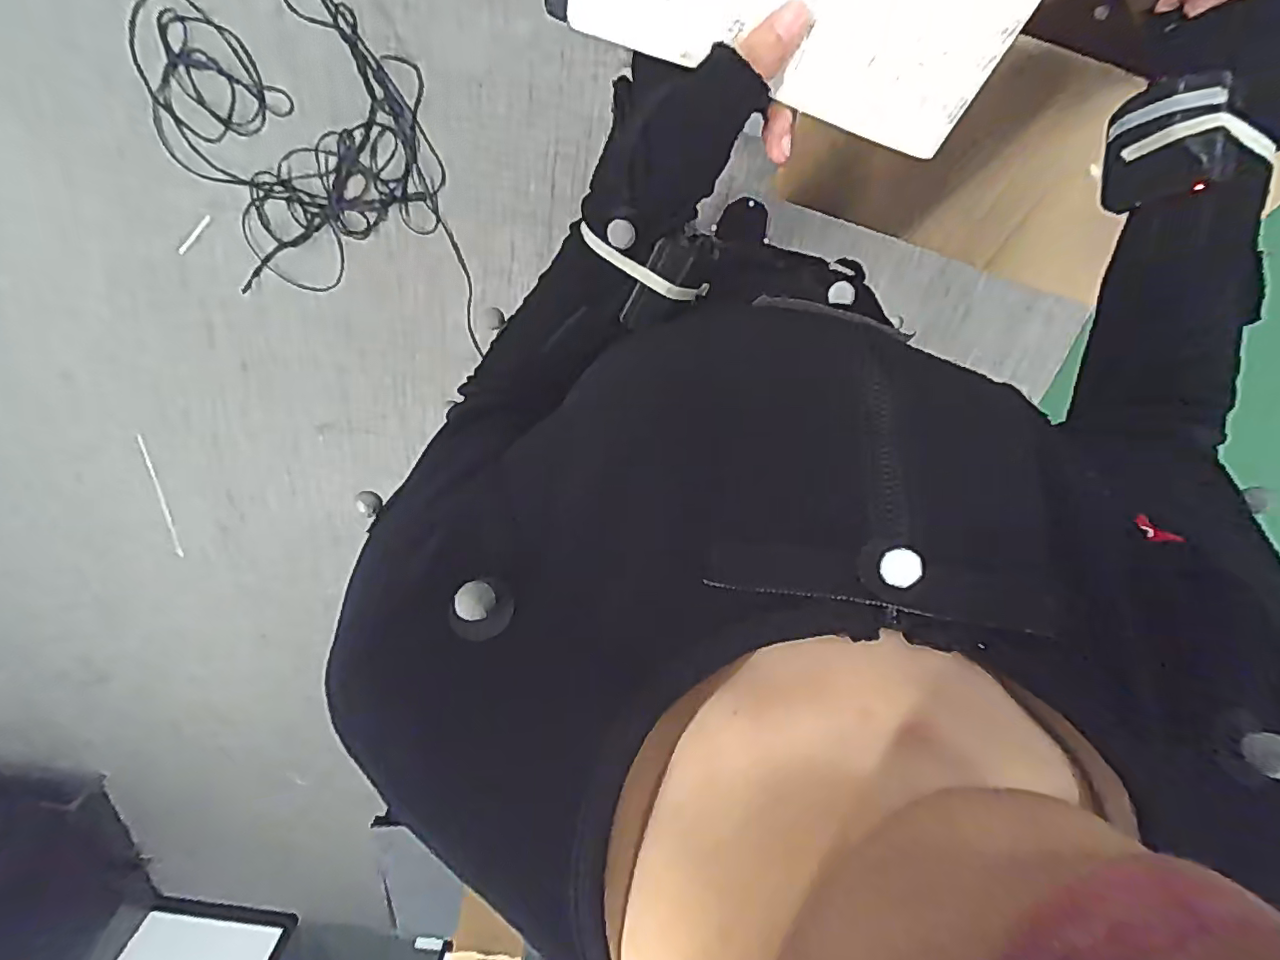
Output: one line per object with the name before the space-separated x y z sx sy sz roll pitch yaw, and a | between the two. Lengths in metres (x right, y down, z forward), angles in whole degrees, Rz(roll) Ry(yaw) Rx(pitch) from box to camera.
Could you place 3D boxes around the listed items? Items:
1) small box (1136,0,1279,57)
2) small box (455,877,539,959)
small box | 0.470 -0.432 0.355 0.168 0.176 0.179 42 116 -18
small box | -0.354 1.133 1.355 0.168 0.176 0.179 9 121 -1
